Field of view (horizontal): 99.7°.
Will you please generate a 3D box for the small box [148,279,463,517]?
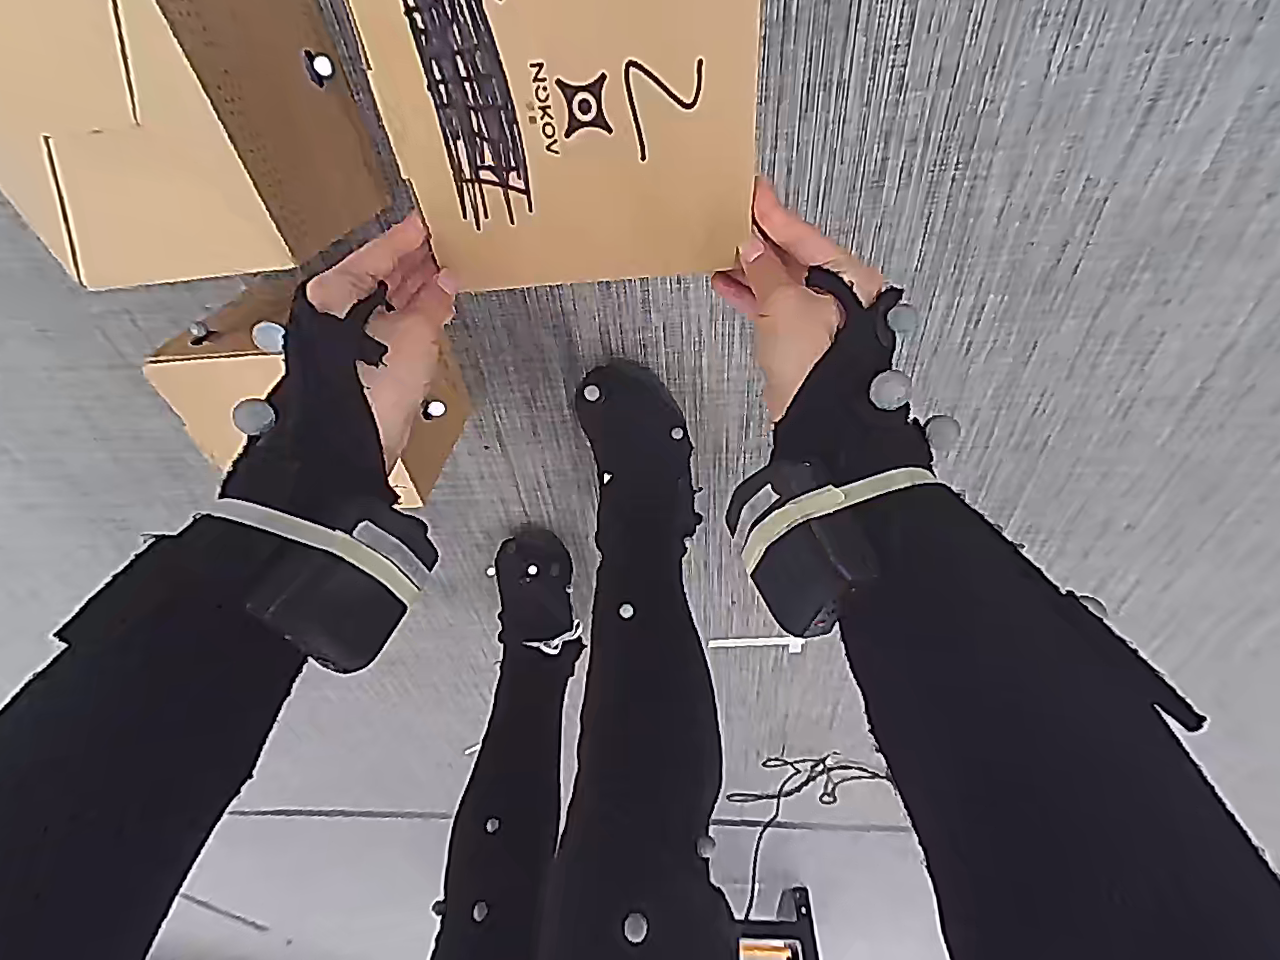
[{"bbox_3d":[-0.288,-0.082,0.523,0.179,0.176,0.168,-2,131,6],"label":"small box"}]
